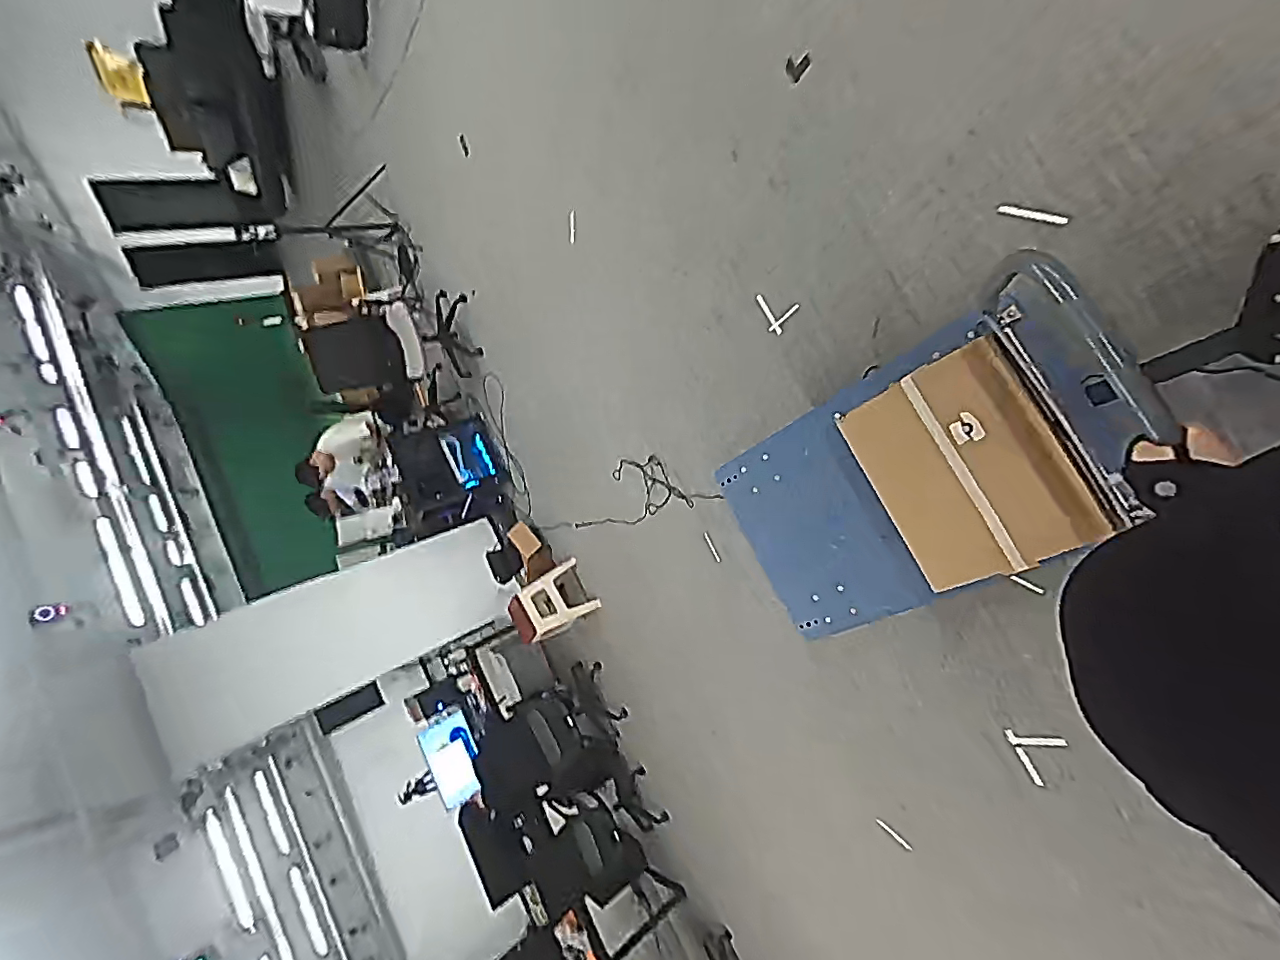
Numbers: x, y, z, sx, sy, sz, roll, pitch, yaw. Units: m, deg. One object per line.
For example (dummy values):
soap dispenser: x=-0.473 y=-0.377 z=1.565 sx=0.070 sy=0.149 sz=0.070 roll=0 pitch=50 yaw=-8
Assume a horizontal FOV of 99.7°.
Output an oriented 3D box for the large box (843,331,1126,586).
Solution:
large box: x=0.707 y=-0.050 z=1.132 sx=0.320 sy=0.320 sz=0.408 roll=-34 pitch=78 yaw=35
